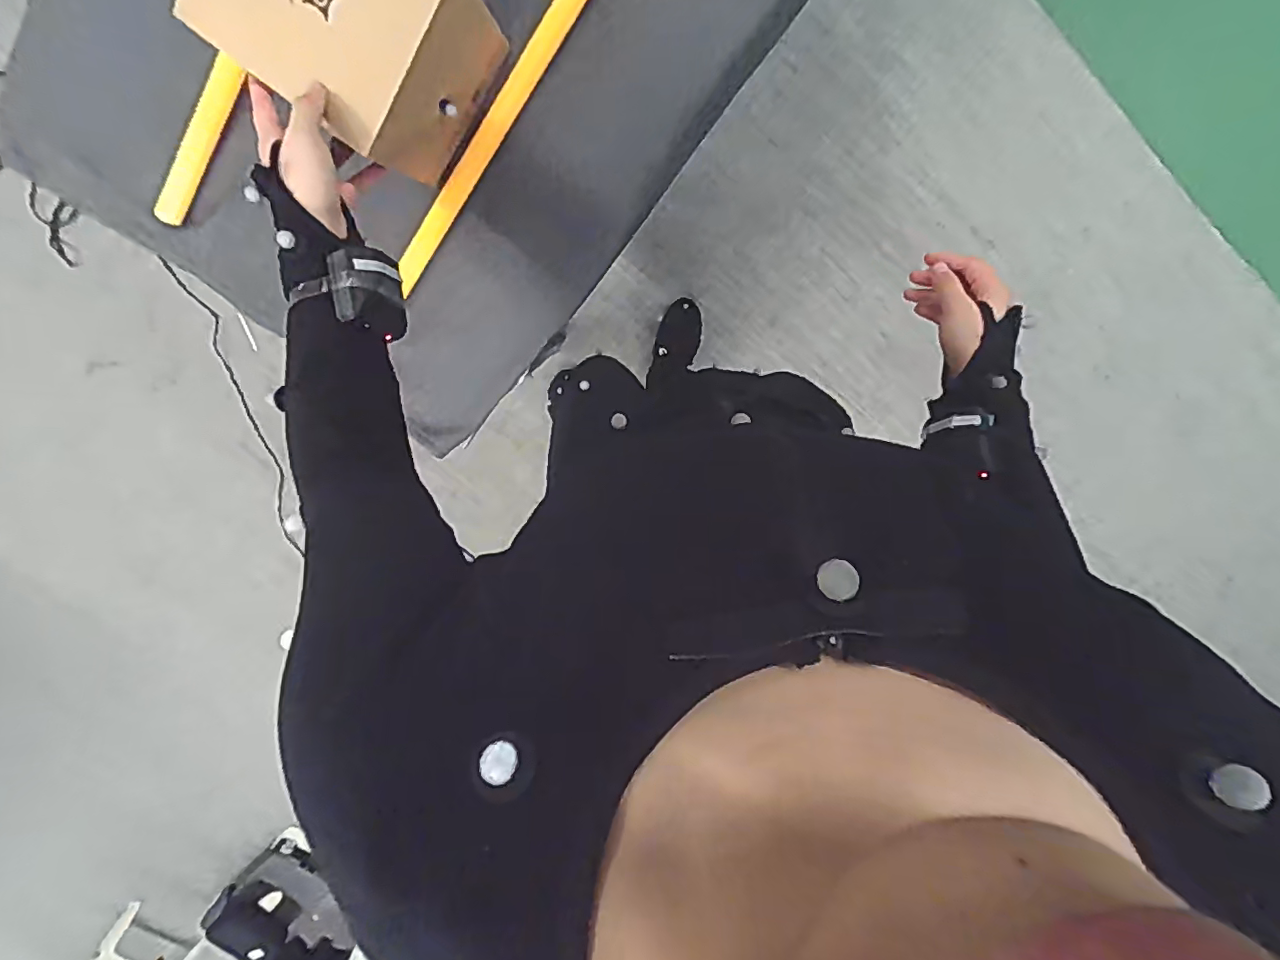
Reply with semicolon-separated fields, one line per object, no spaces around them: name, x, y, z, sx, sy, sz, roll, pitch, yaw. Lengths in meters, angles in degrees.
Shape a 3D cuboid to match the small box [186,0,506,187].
small box;-0.251;-0.404;0.506;0.179;0.176;0.168;35;107;-11
